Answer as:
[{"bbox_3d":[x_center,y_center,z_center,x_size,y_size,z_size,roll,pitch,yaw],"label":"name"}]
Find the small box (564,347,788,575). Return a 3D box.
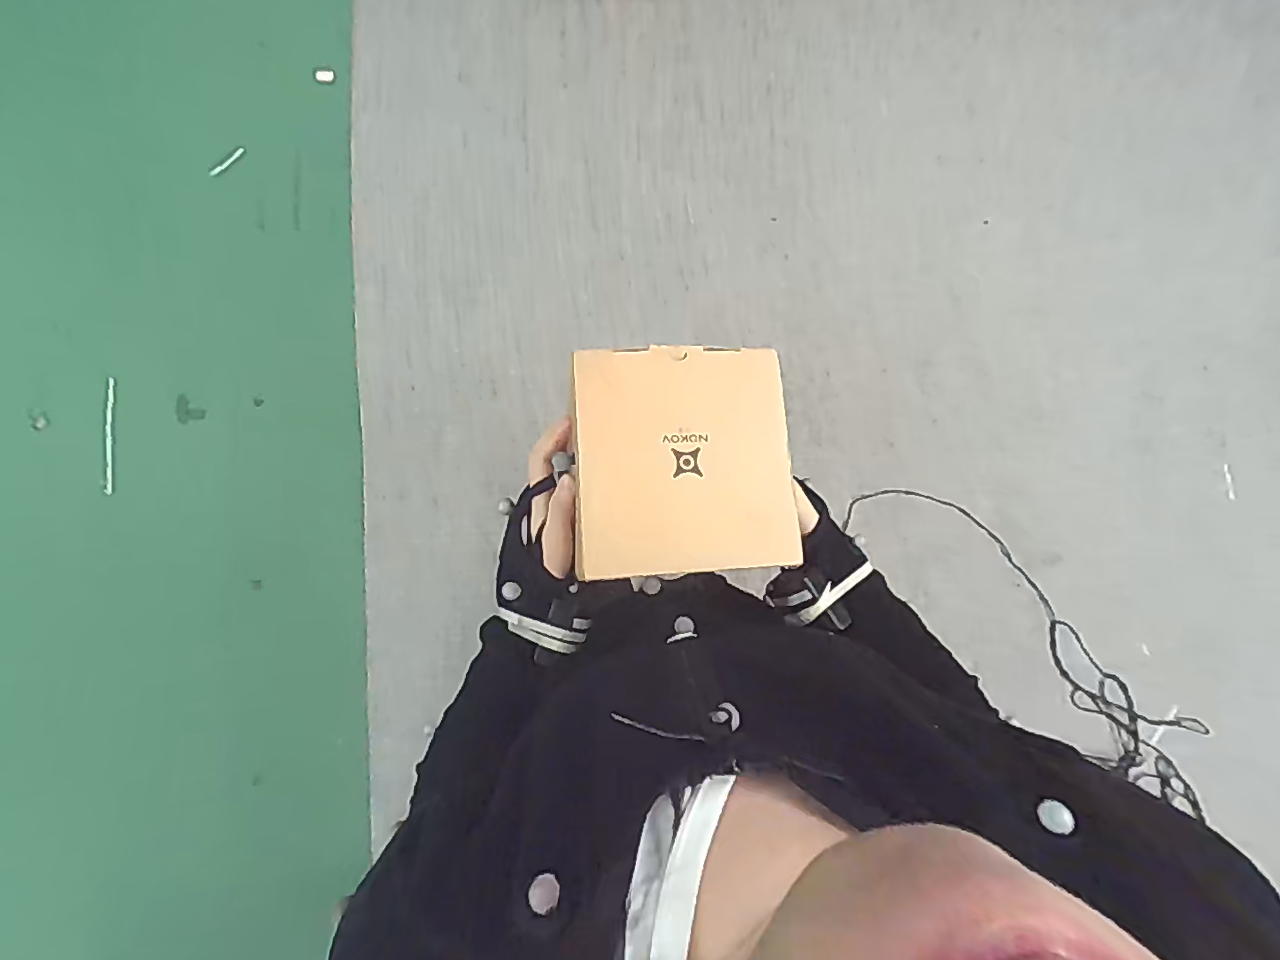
[{"bbox_3d":[0.017,-0.005,0.491,0.168,0.176,0.179,-2,78,-8],"label":"small box"}]
